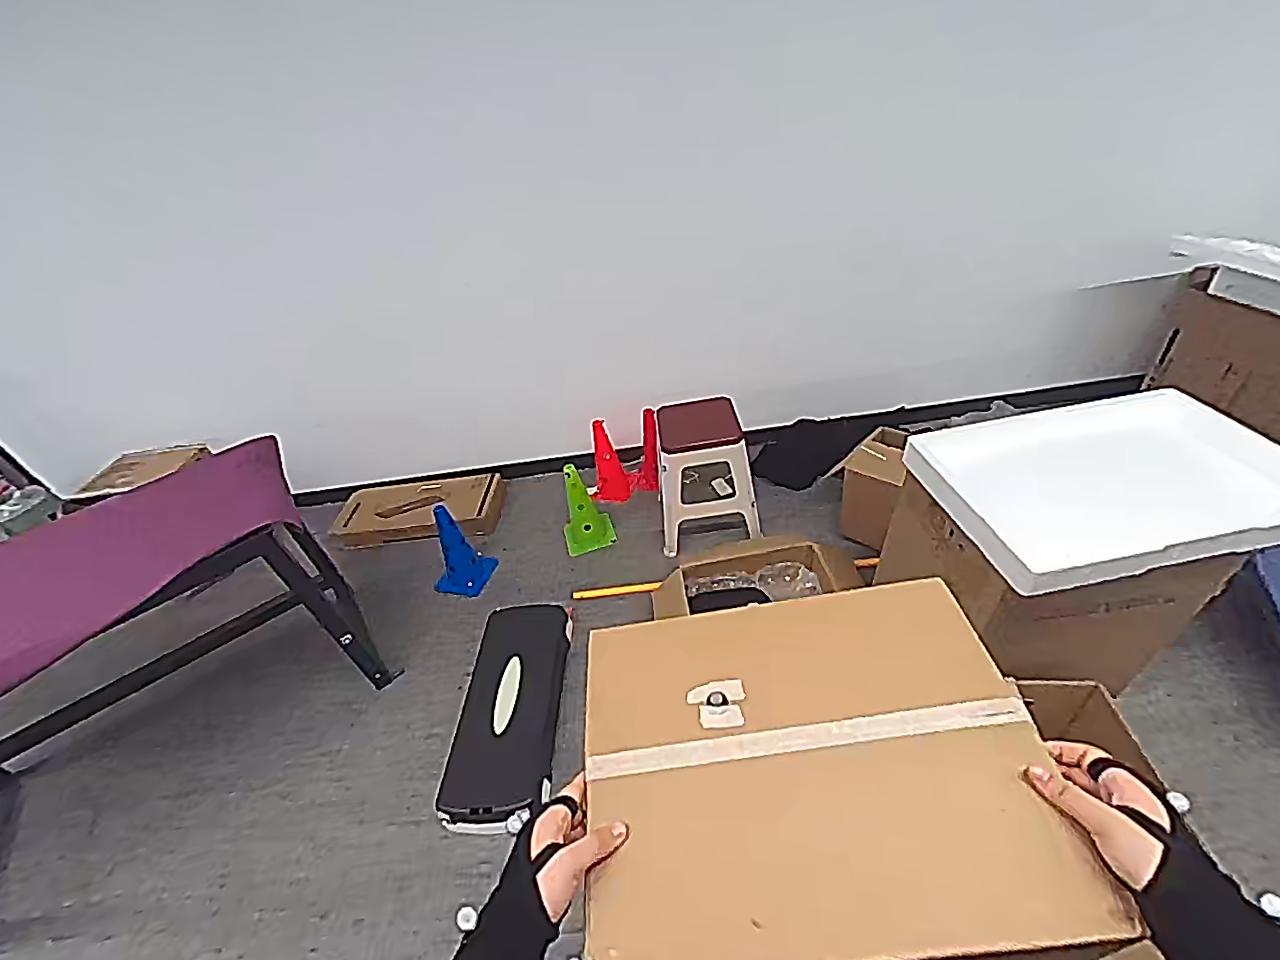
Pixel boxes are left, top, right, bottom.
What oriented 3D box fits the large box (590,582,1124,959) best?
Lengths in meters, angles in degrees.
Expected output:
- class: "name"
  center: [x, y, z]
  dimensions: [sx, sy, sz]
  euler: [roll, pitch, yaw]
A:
- class: "large box"
  center: [0.179, 0.361, 0.609]
  dimensions: [0.408, 0.320, 0.320]
  euler: [-11, 39, 6]
